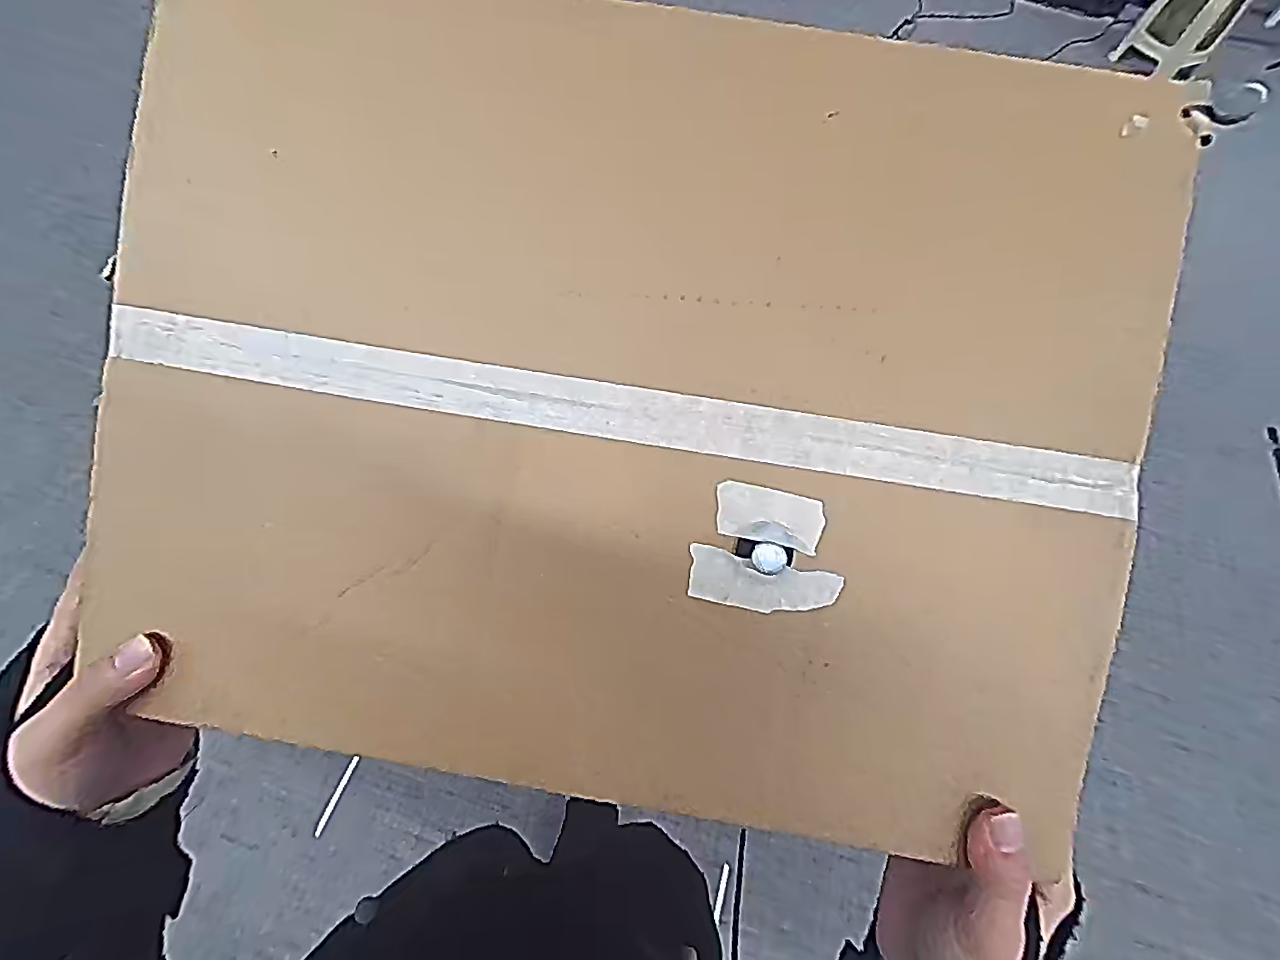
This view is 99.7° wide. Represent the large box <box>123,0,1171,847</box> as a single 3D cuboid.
[{"bbox_3d":[-0.001,-0.028,0.373,0.408,0.320,0.320,10,92,1],"label":"large box"}]
